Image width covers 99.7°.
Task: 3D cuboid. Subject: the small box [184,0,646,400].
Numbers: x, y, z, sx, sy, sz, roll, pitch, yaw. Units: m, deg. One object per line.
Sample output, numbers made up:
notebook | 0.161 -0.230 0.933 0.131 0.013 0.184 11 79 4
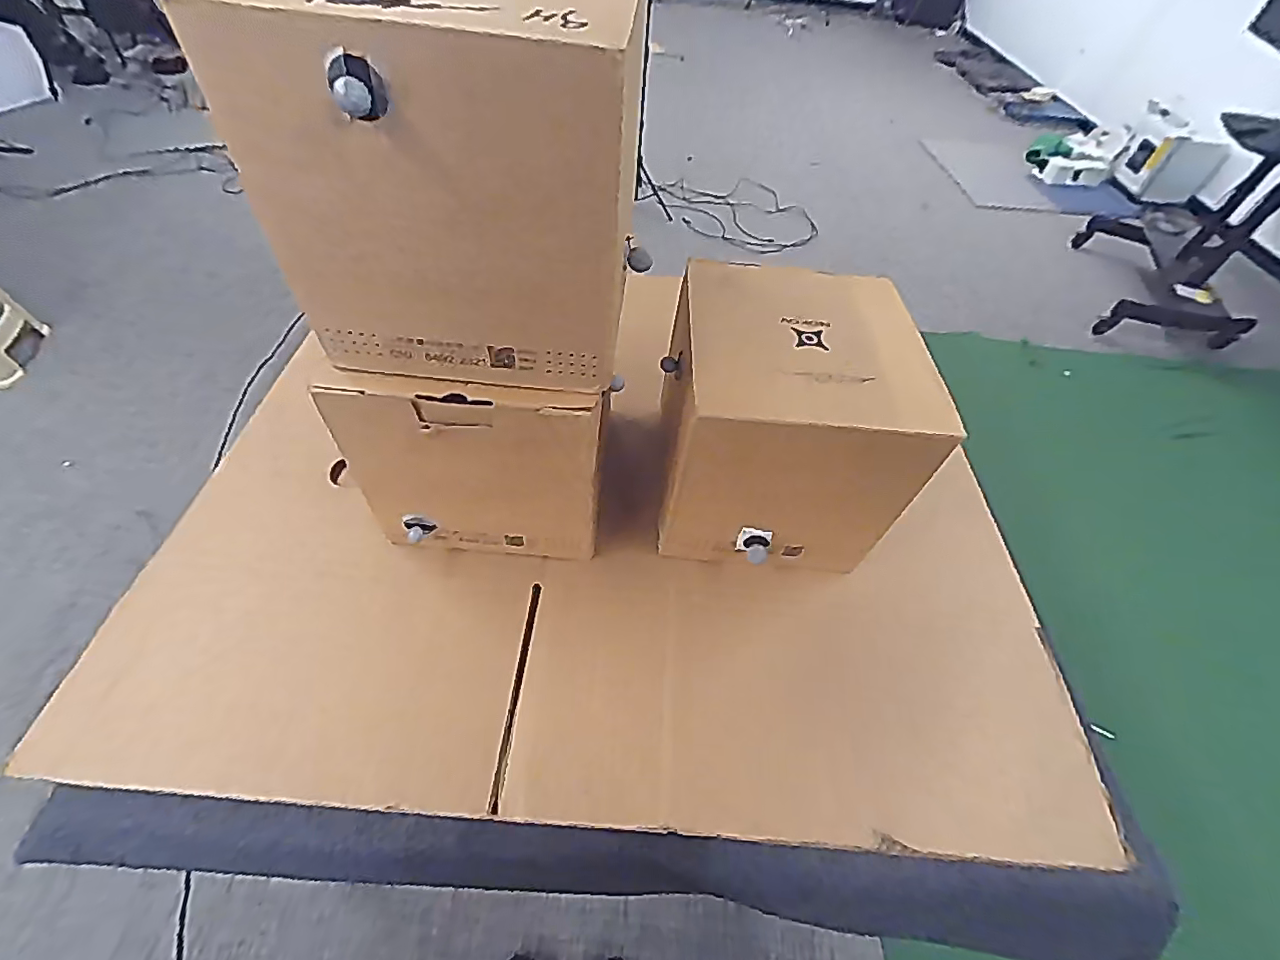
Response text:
small box | -0.091 -0.173 0.315 0.168 0.176 0.179 6 51 -1
